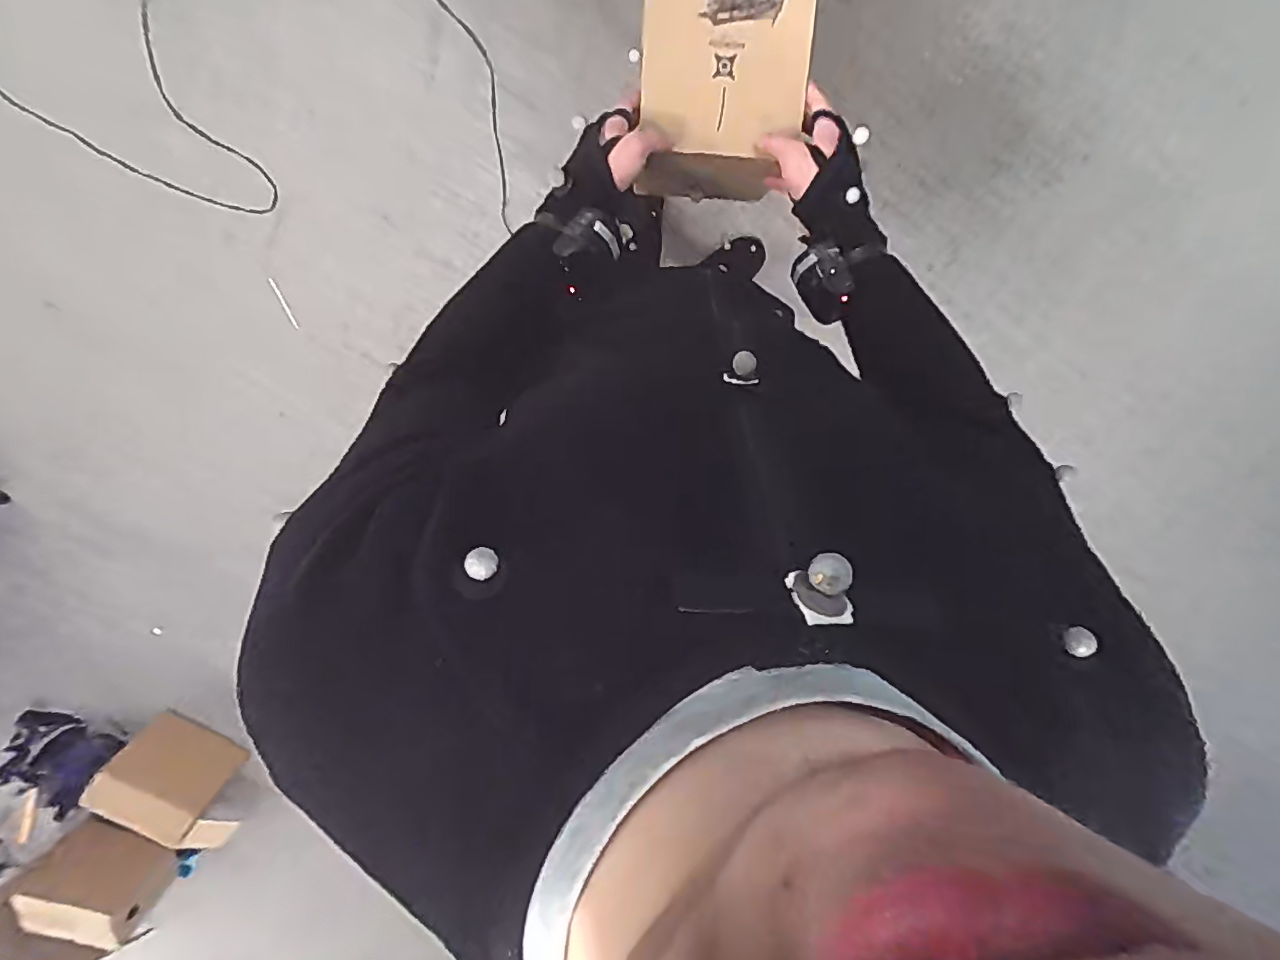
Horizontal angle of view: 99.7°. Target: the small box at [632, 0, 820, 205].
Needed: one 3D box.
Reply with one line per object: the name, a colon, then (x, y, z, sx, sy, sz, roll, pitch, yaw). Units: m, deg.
small box: (0.079, -0.423, 0.590, 0.168, 0.176, 0.179, 4, 103, -3)
